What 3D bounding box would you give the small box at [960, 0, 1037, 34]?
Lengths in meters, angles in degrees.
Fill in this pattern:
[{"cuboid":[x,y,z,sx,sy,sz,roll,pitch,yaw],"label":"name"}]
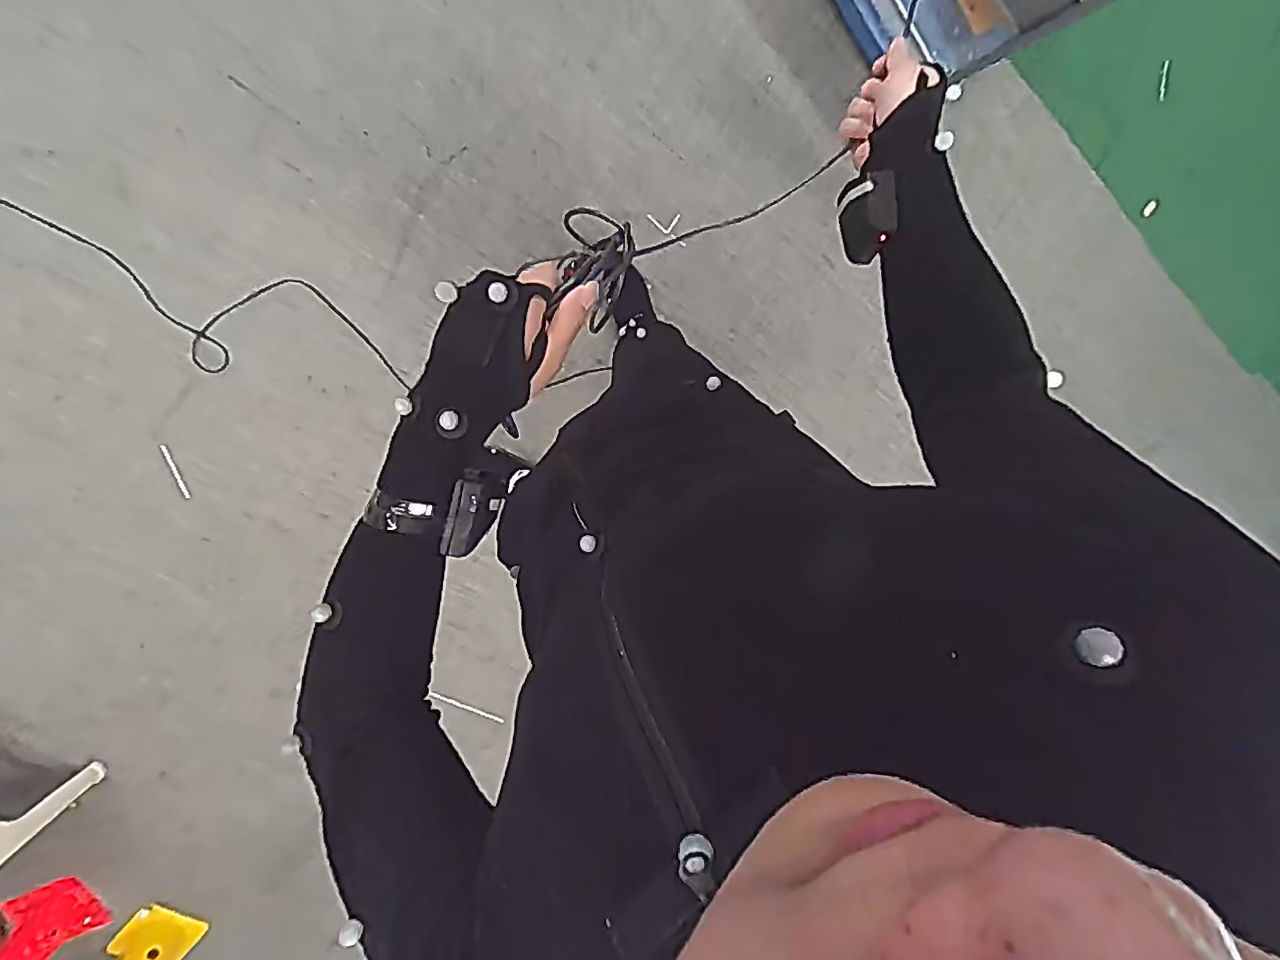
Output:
[{"cuboid":[0.874,-1.203,1.250,0.179,0.176,0.168,-45,109,1],"label":"small box"}]
